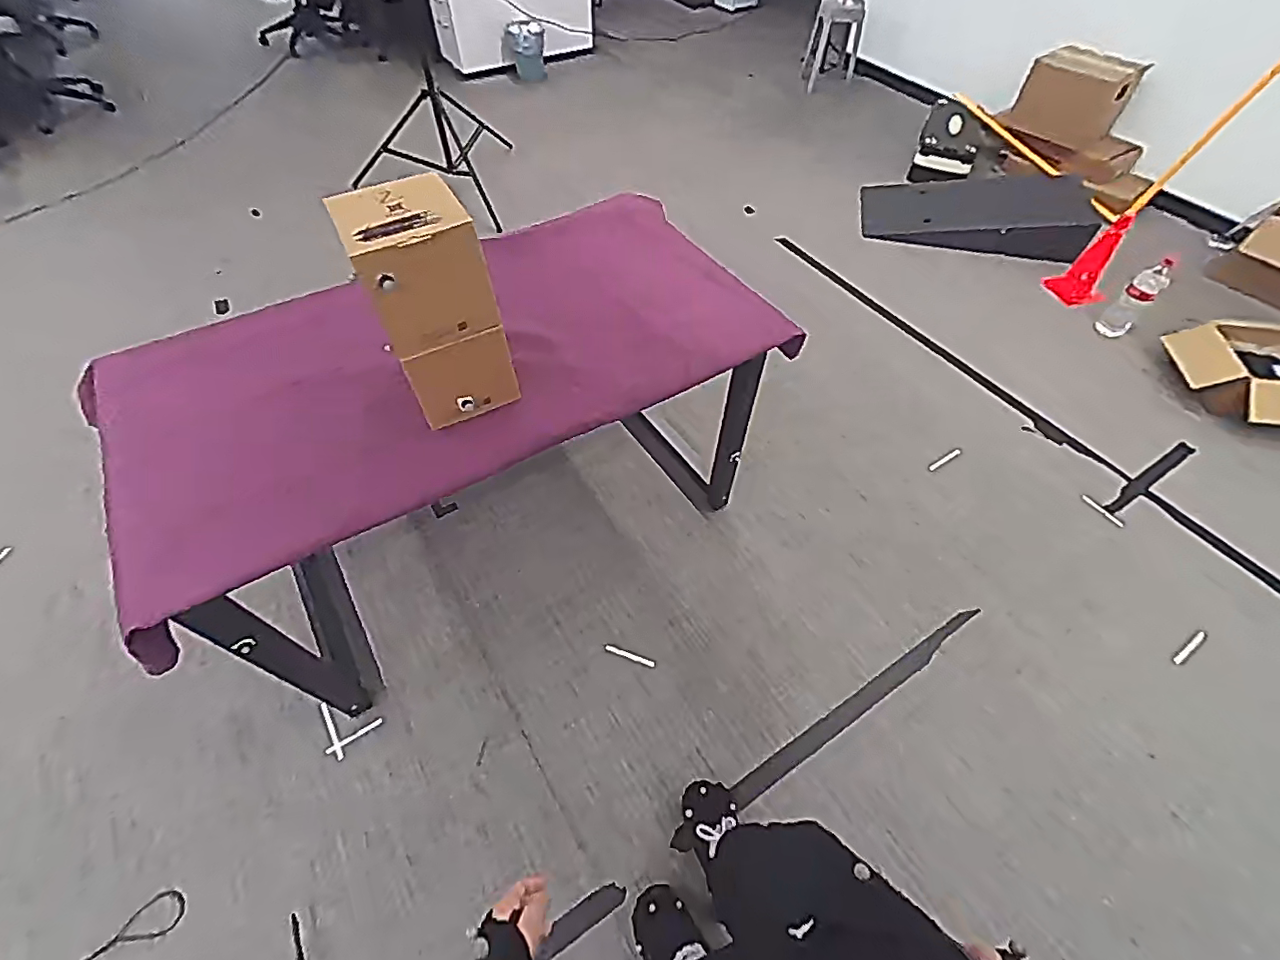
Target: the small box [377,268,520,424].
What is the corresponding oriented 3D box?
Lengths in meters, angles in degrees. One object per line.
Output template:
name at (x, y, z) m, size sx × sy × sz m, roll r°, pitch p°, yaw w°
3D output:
small box at (-0.326, -0.230, 0.941) m, size 0.168 × 0.176 × 0.179 m, roll -26°, pitch 59°, yaw -17°
